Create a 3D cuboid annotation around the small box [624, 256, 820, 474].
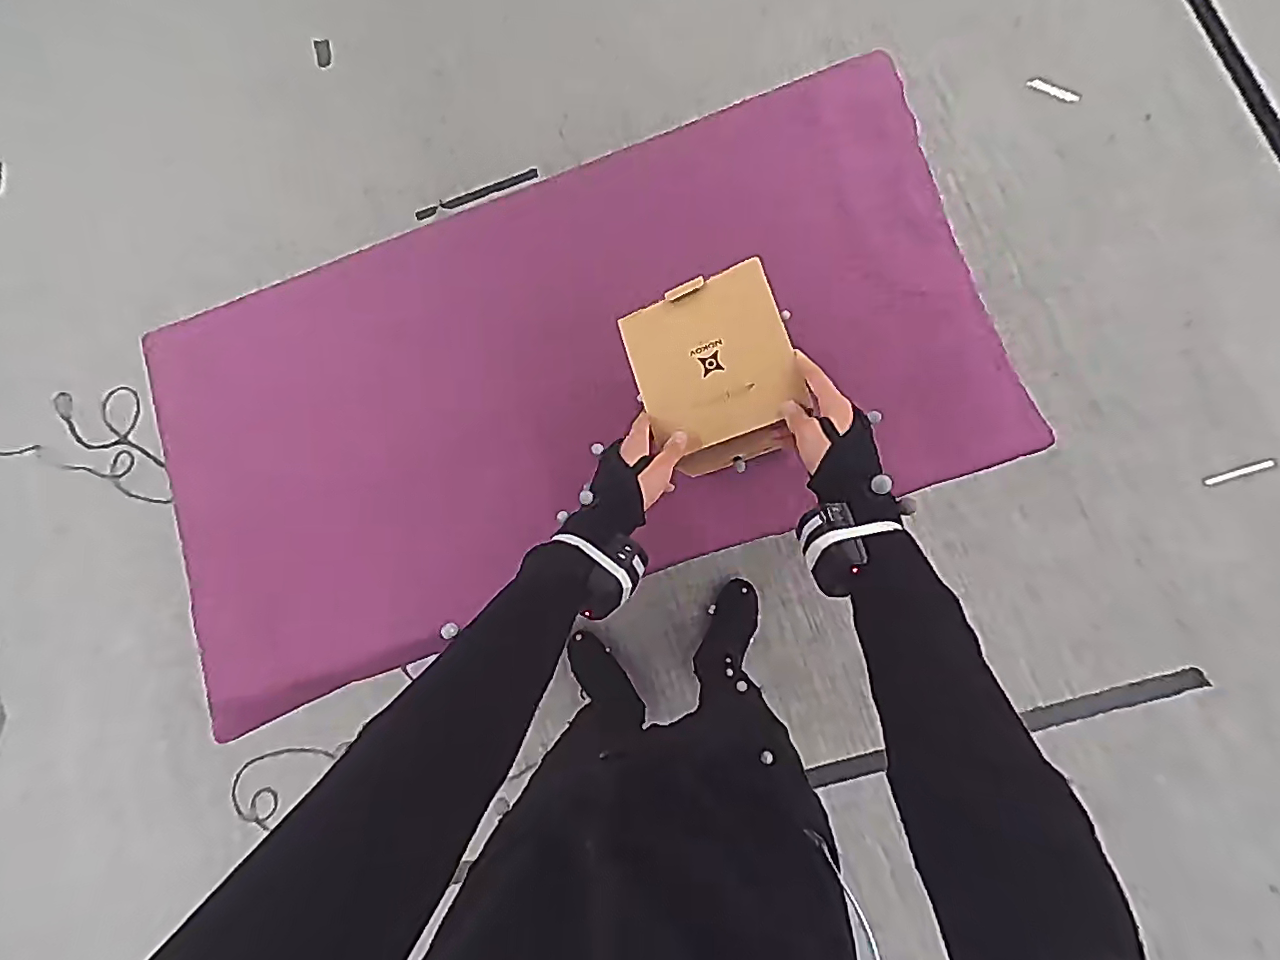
[{"bbox_3d":[0.101,-0.118,0.635,0.168,0.176,0.179,-19,79,16],"label":"small box"}]
